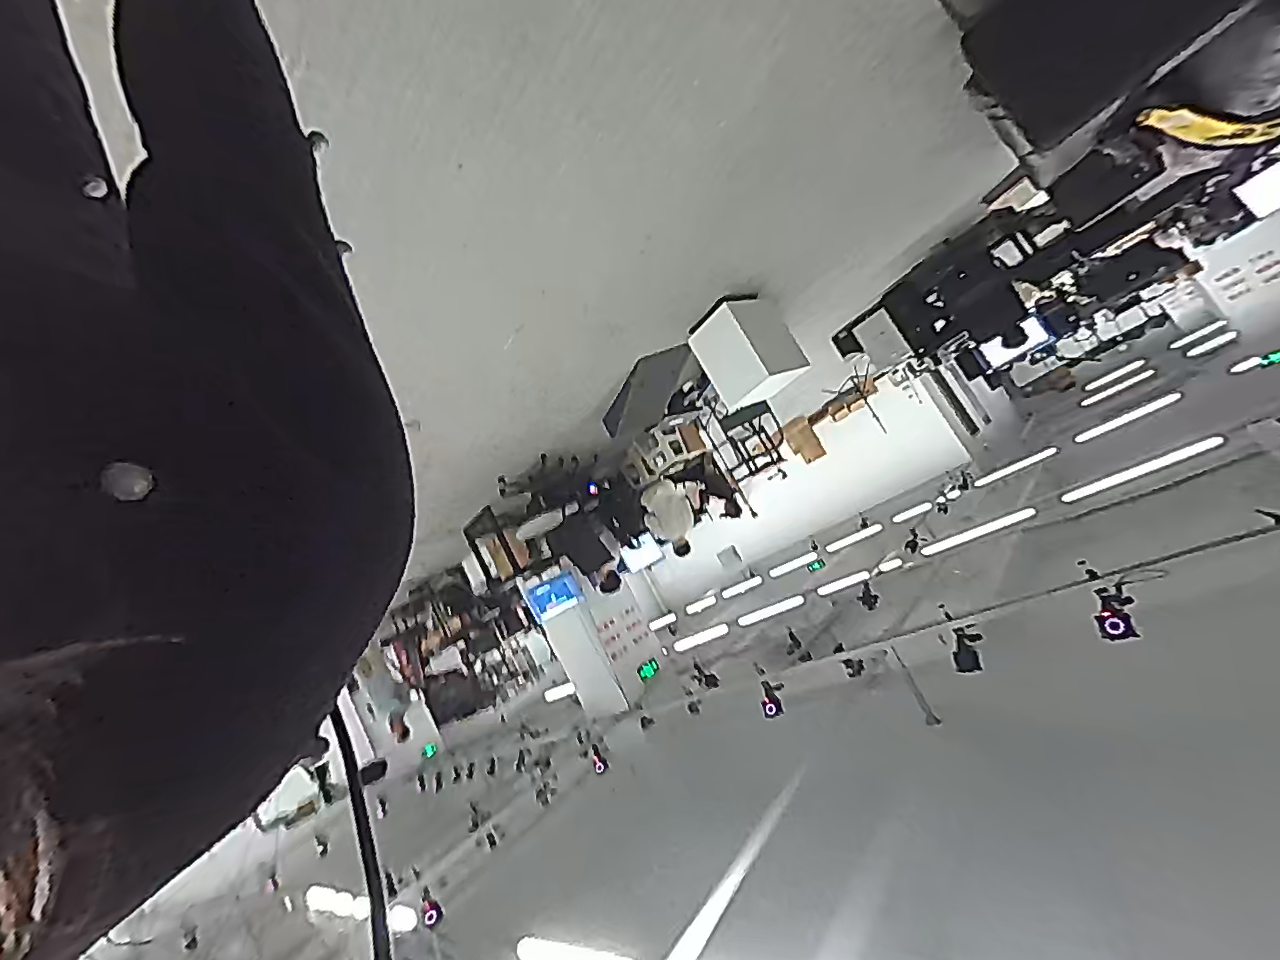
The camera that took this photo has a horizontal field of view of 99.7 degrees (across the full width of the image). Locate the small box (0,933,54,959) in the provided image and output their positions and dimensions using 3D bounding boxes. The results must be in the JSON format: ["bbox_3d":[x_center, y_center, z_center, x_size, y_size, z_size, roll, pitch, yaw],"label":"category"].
[{"bbox_3d":[-1.791,1.432,1.528,0.179,0.176,0.168,-35,169,30],"label":"small box"}]
